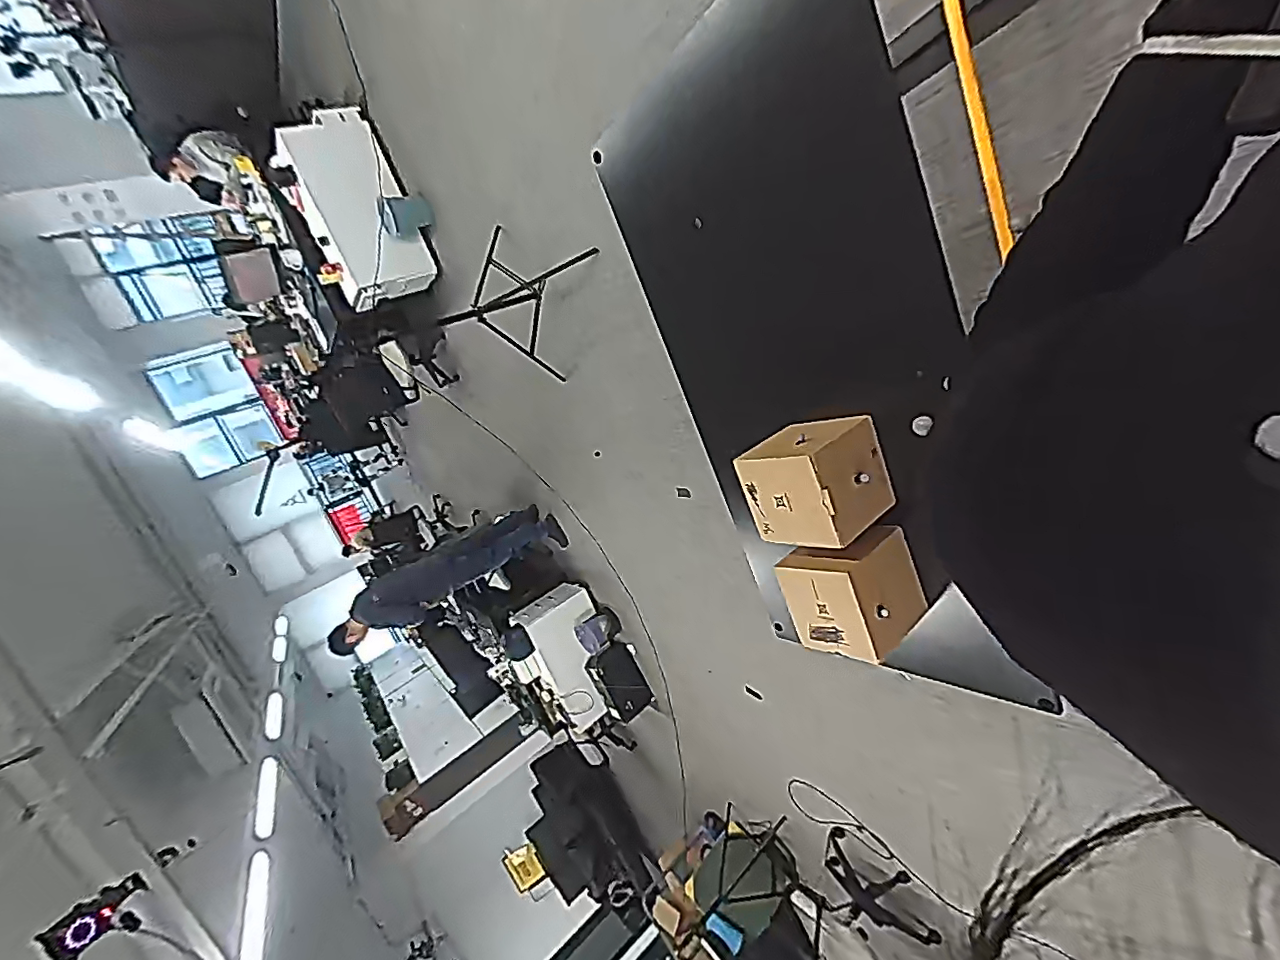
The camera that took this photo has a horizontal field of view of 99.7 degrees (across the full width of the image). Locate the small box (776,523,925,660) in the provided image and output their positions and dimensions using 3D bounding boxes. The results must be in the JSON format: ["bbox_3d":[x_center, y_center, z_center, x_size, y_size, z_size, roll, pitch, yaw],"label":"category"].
[{"bbox_3d":[0.388,0.193,0.988,0.168,0.176,0.179,-7,109,58],"label":"small box"}]

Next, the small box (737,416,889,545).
[{"bbox_3d":[0.308,-0.002,0.944,0.179,0.176,0.168,-2,113,57],"label":"small box"}]
